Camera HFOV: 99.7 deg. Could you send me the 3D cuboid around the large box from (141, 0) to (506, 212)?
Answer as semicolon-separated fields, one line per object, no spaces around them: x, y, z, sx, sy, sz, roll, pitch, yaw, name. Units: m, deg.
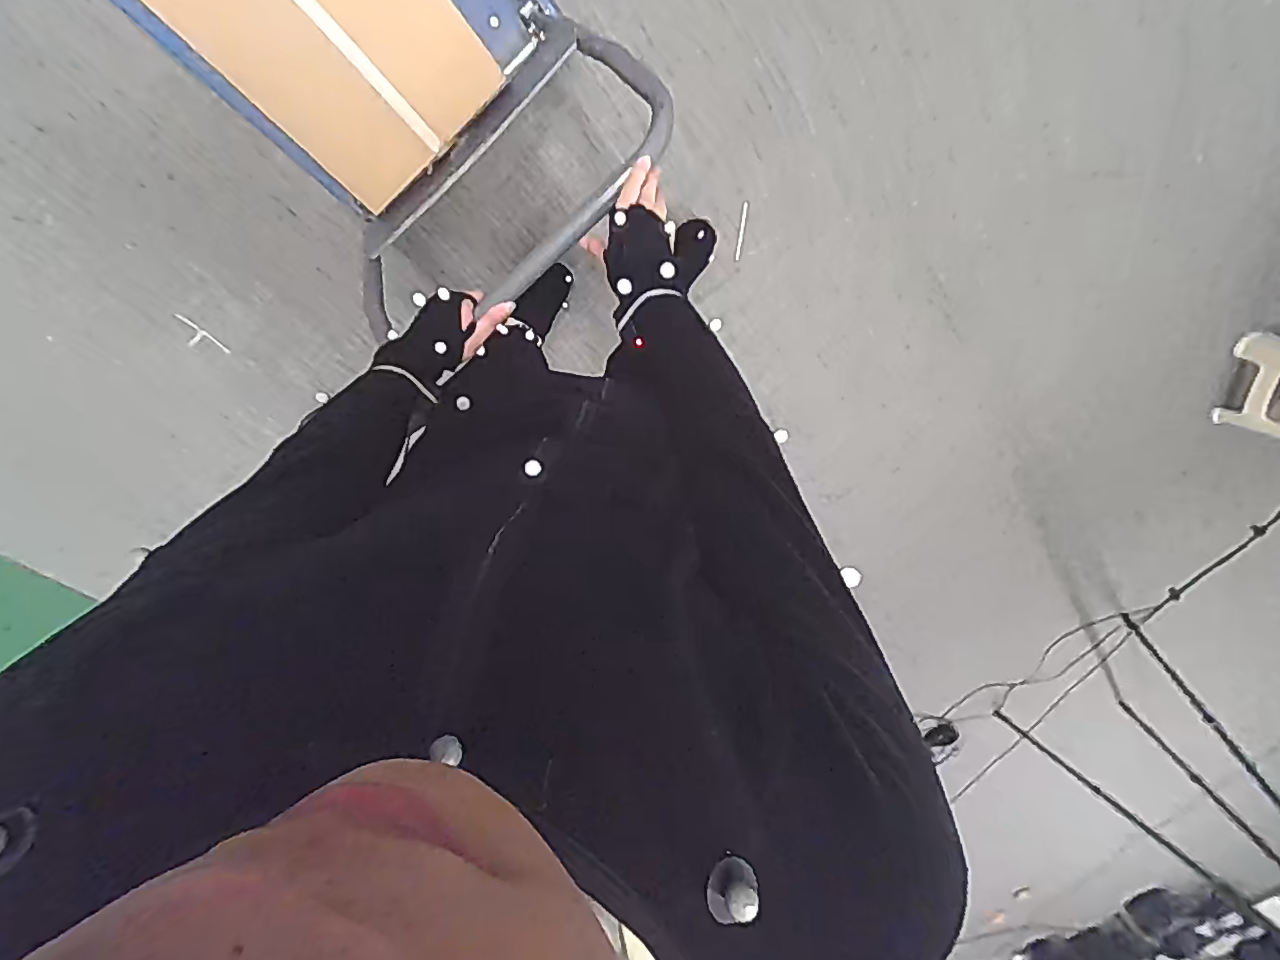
-0.477;-0.730;0.859;0.320;0.320;0.408;-38;133;12;large box
